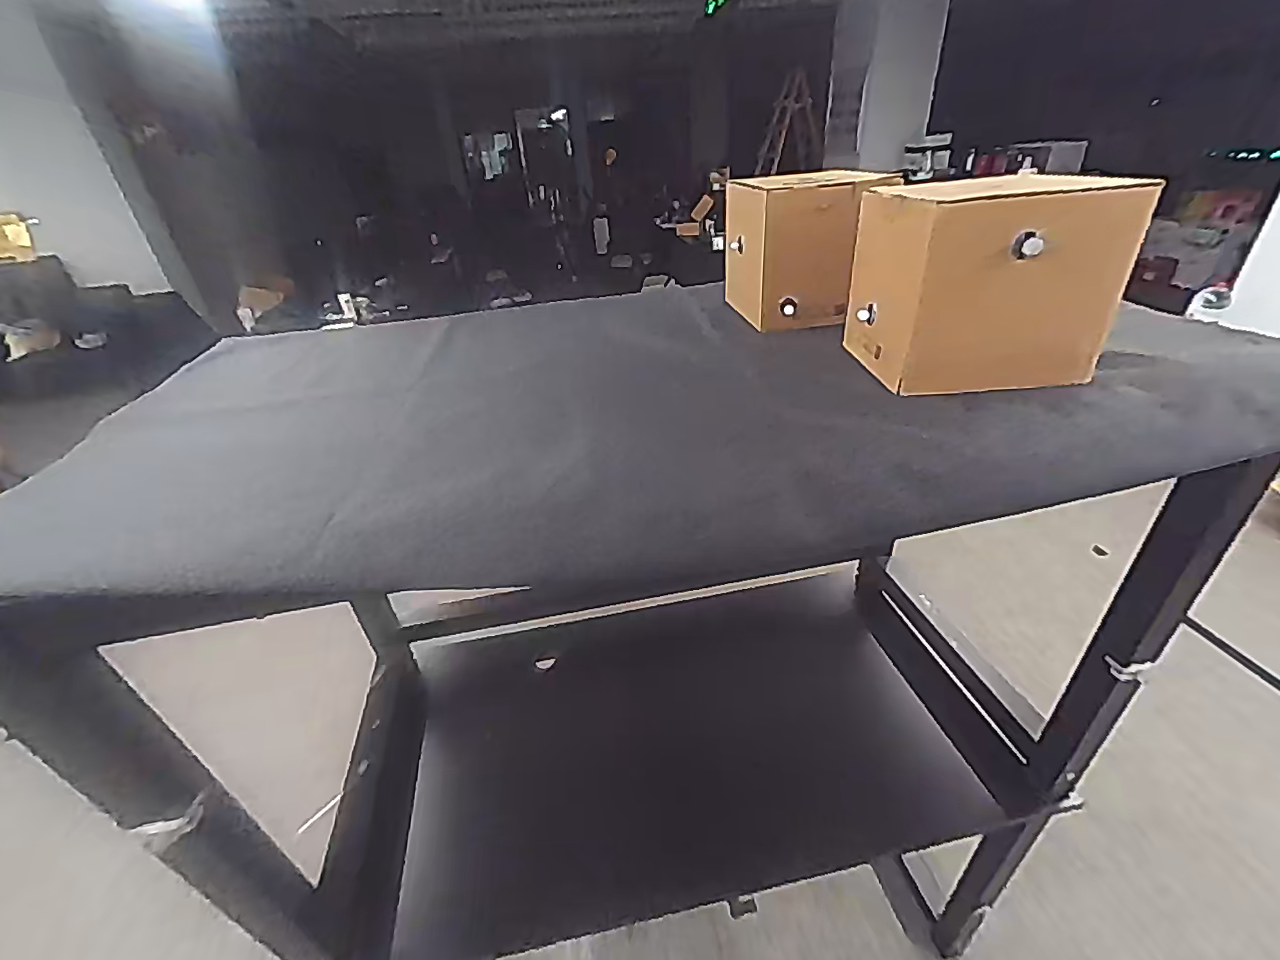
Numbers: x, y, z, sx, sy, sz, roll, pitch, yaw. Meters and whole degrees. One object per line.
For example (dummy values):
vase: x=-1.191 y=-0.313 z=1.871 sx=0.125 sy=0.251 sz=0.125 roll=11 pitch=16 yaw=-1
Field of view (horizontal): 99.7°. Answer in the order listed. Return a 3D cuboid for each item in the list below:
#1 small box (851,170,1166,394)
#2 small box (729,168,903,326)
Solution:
small box: x=0.324 y=-0.193 z=0.524 sx=0.179 sy=0.176 sz=0.168 roll=-4 pitch=31 yaw=3
small box: x=0.222 y=-0.312 z=0.729 sx=0.168 sy=0.176 sz=0.179 roll=-8 pitch=31 yaw=-4
